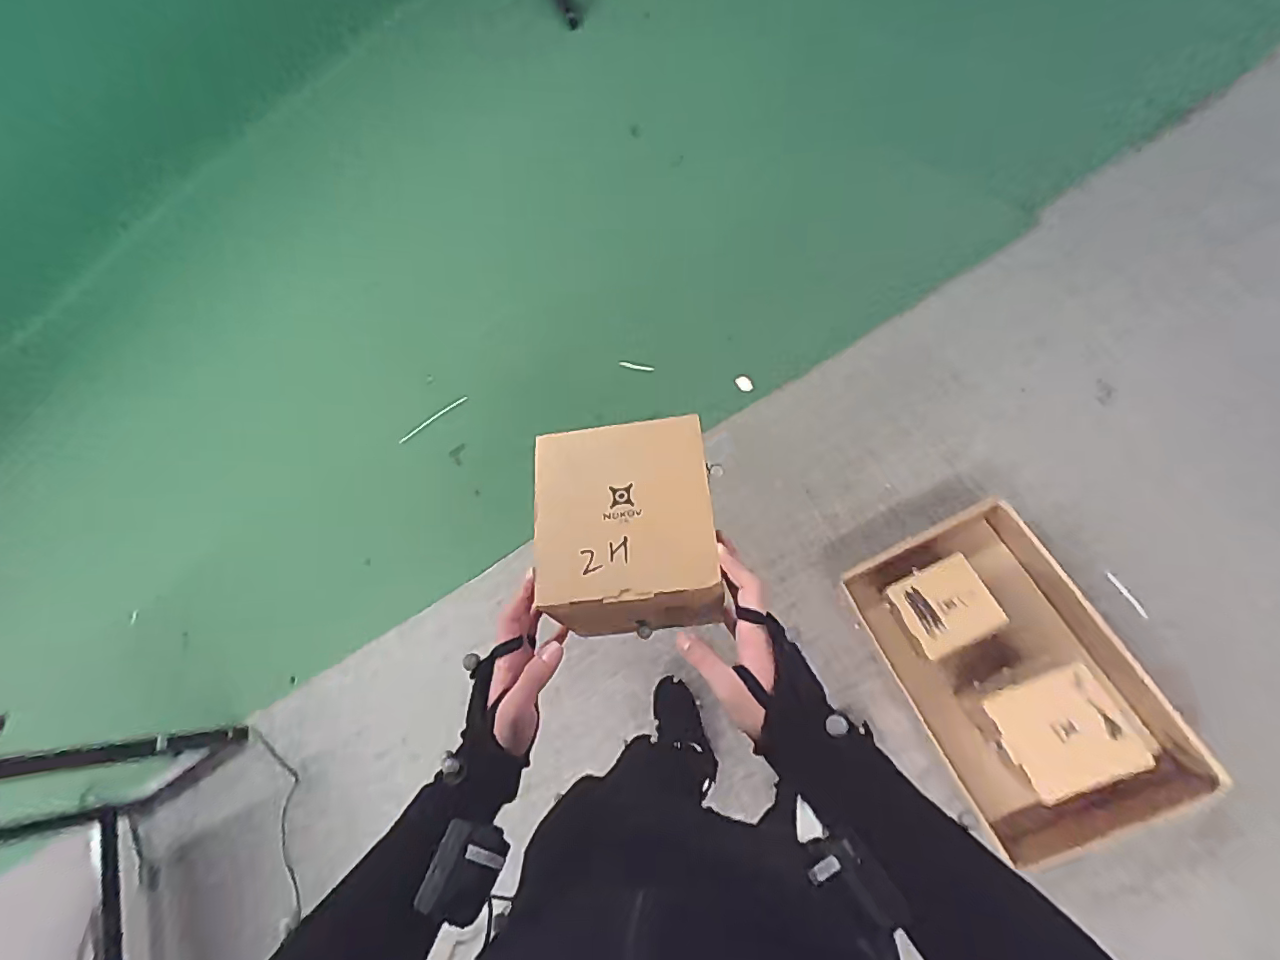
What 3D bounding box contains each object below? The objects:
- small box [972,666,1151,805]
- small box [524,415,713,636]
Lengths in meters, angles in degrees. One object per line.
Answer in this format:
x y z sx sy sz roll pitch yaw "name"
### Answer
0.714 0.439 0.948 0.179 0.176 0.168 -28 64 12 "small box"
-0.015 0.056 0.573 0.168 0.176 0.179 -8 63 6 "small box"
